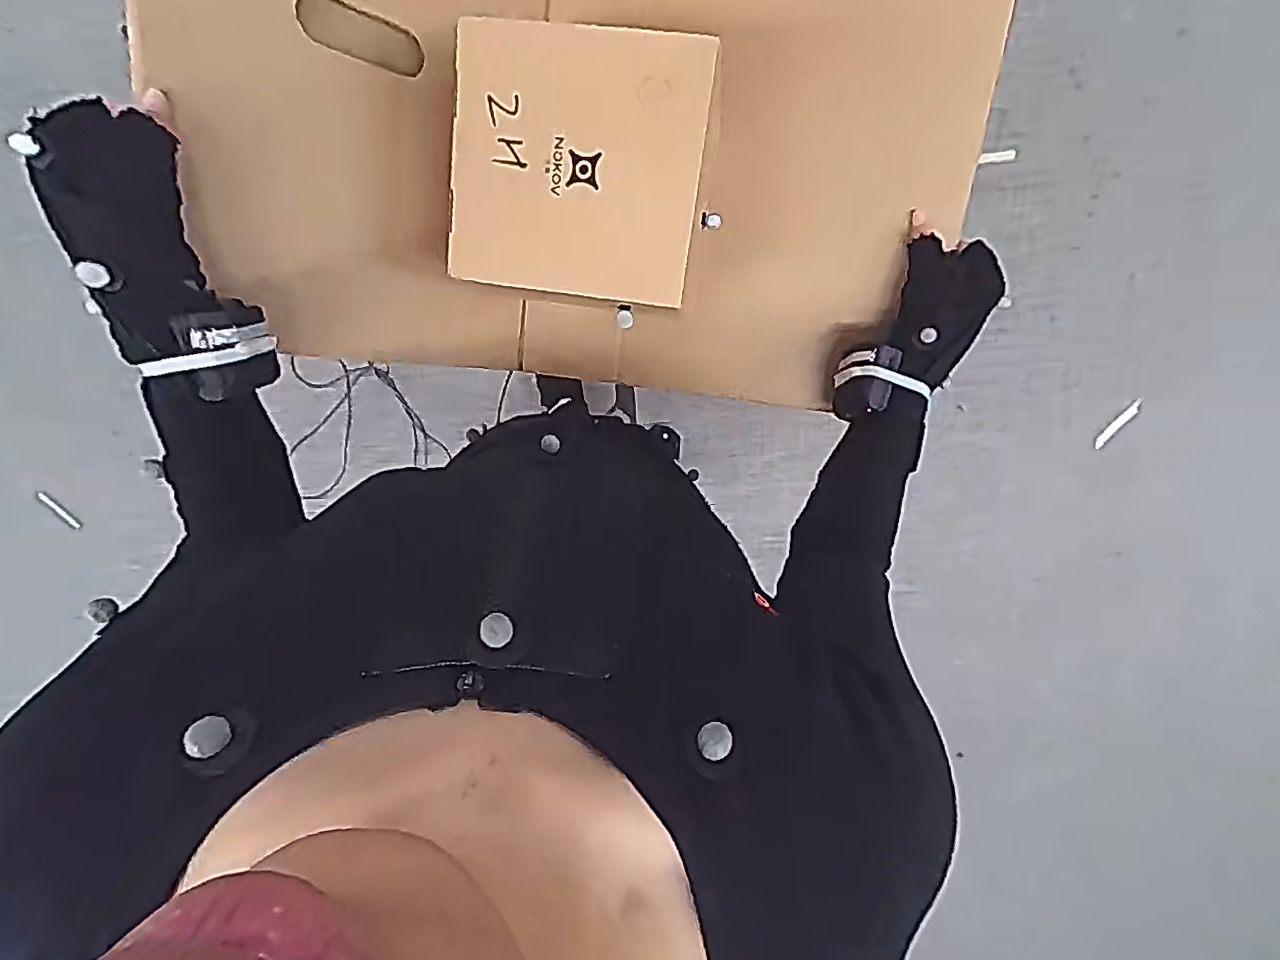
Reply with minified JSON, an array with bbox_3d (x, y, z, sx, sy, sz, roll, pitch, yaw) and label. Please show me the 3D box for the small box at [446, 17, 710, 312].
[{"bbox_3d":[-0.039,-0.238,0.453,0.179,0.176,0.168,10,104,6],"label":"small box"}]
